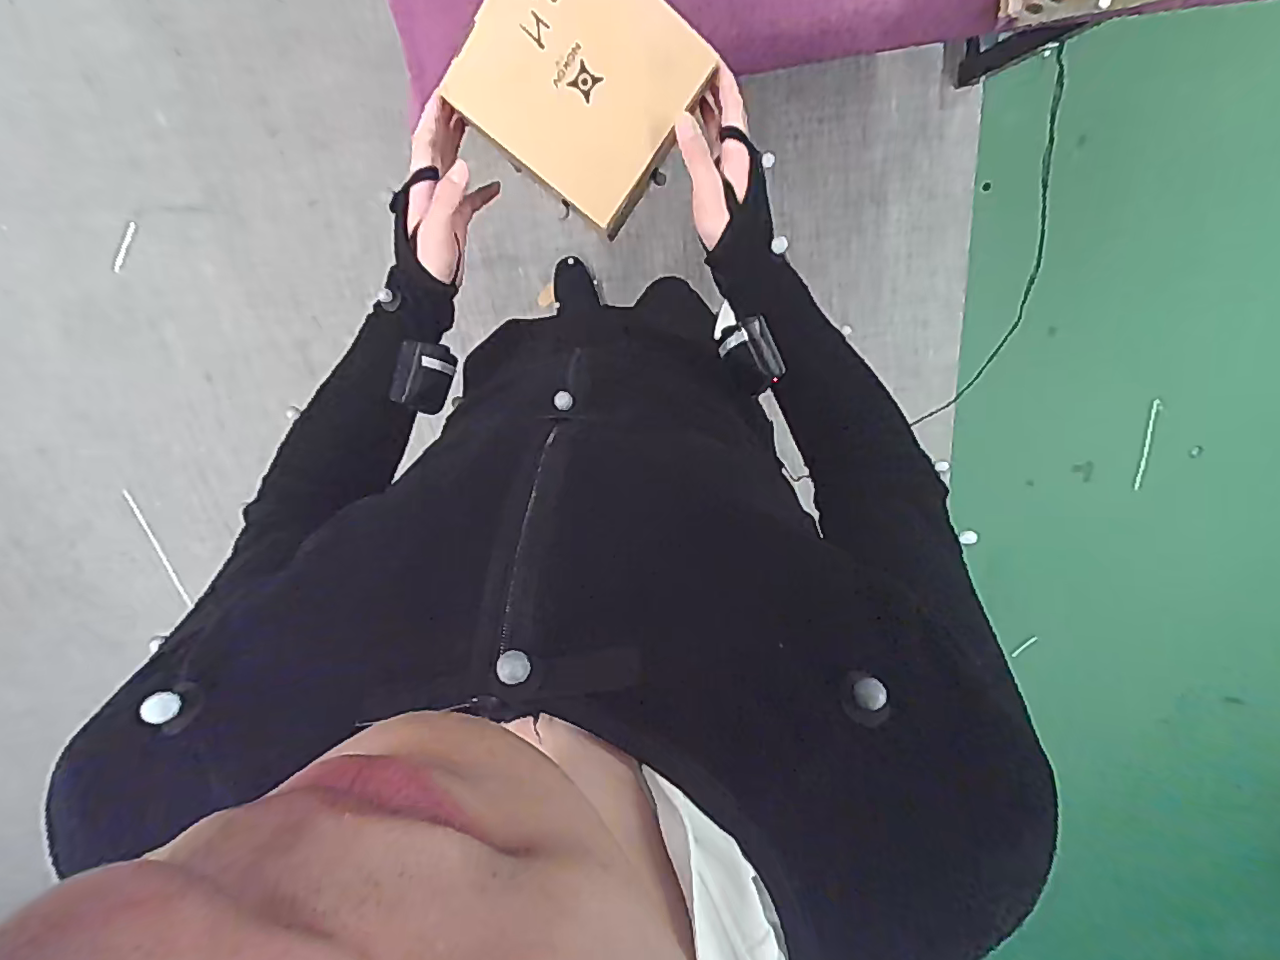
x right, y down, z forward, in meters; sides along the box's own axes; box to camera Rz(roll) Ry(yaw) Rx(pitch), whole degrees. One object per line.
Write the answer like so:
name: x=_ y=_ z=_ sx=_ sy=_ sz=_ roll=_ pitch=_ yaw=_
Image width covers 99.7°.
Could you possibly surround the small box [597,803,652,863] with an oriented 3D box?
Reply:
small box: x=-0.050 y=1.158 z=1.722 sx=0.168 sy=0.176 sz=0.179 roll=-3 pitch=110 yaw=-3
